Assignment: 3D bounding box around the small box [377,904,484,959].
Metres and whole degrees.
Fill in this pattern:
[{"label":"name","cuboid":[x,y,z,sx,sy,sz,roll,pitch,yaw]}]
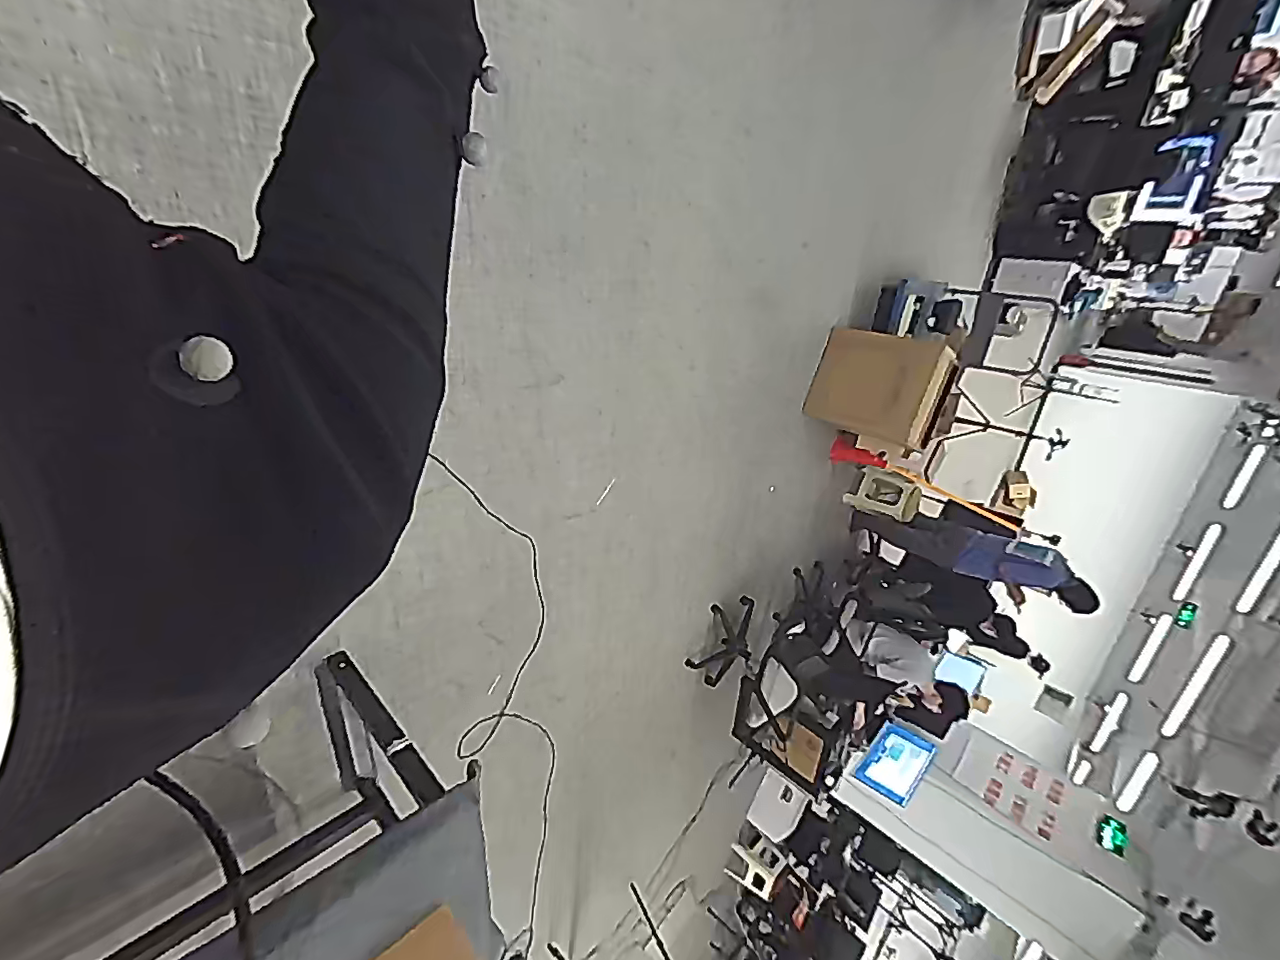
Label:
[{"label":"small box","cuboid":[-0.431,1.045,1.119,0.179,0.176,0.168,-21,124,-40]}]
